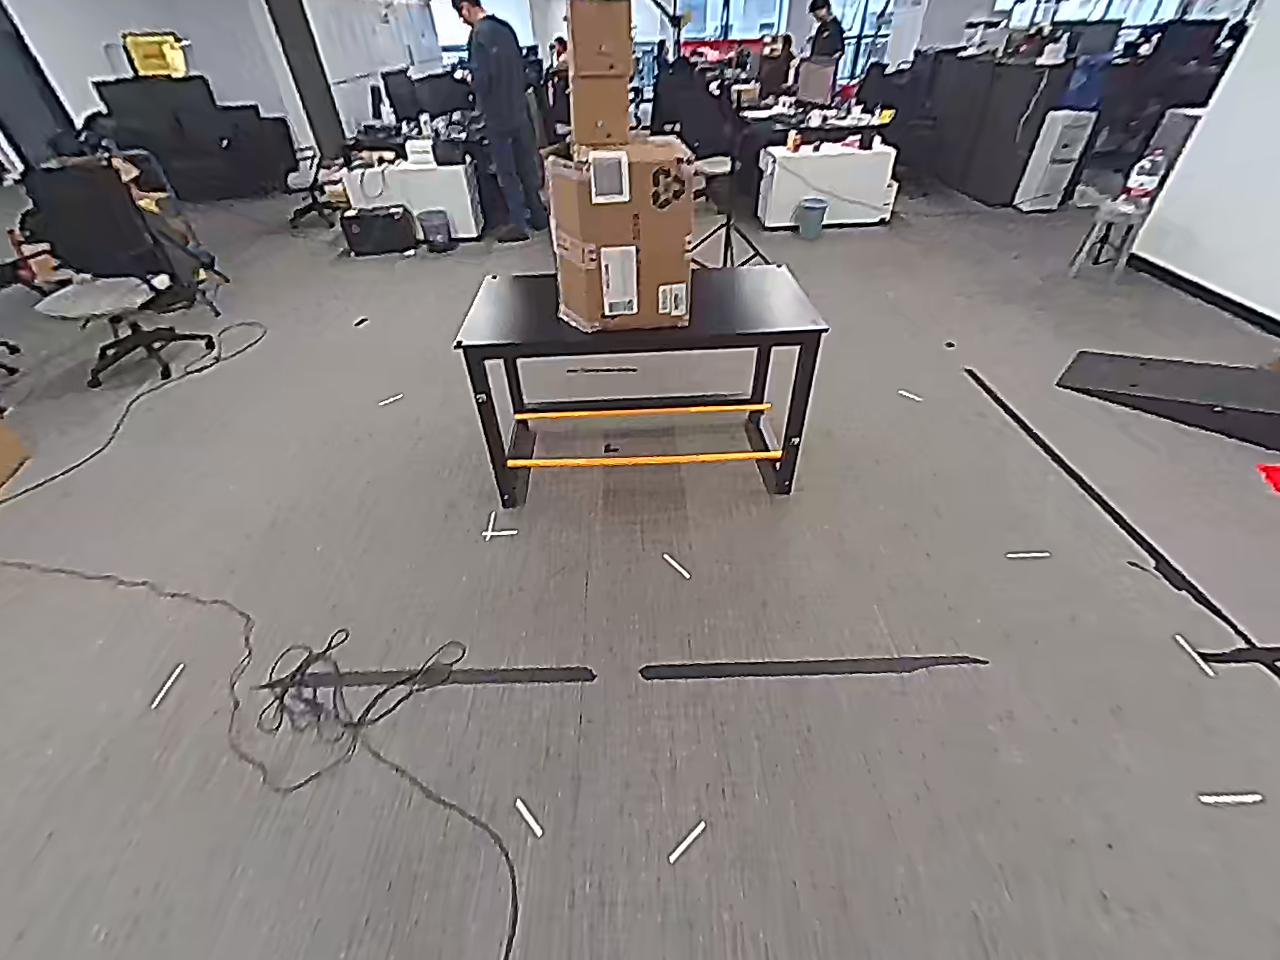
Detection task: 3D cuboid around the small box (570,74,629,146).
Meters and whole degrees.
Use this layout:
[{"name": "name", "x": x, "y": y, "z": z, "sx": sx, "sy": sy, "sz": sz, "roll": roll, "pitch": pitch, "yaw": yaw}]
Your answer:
[{"name": "small box", "x": -0.124, "y": -1.122, "z": 1.636, "sx": 0.168, "sy": 0.176, "sz": 0.179, "roll": -5, "pitch": 39, "yaw": -6}]

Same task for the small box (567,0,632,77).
[{"name": "small box", "x": -0.117, "y": -1.247, "z": 1.527, "sx": 0.168, "sy": 0.176, "sz": 0.179, "roll": -7, "pitch": 39, "yaw": -7}]
